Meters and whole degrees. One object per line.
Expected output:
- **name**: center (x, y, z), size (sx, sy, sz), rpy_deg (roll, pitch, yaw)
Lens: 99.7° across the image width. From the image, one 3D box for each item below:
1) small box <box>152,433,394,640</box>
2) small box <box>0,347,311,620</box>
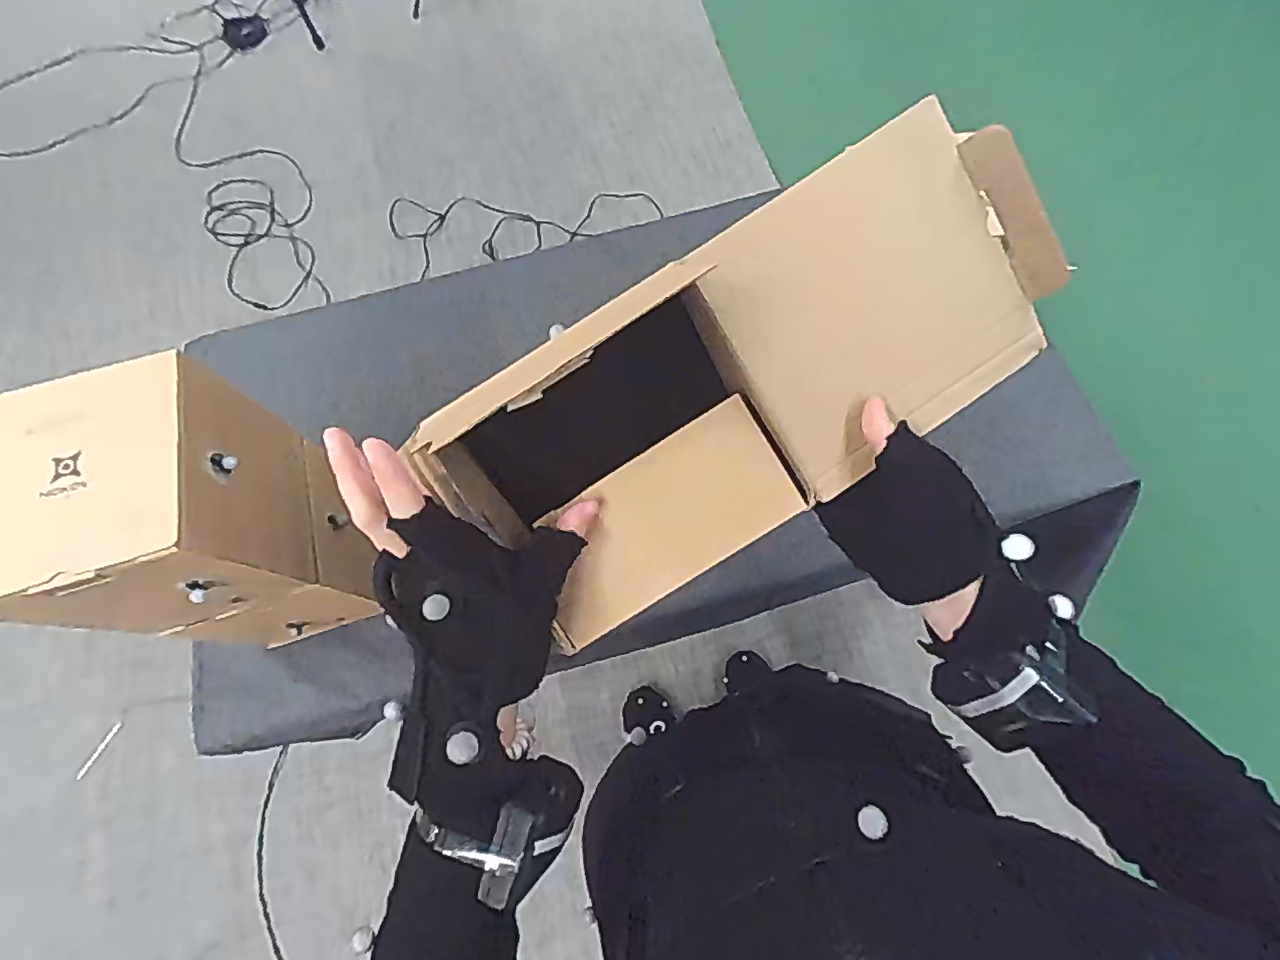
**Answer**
- **small box**: center (-0.413, 0.074, 0.631), size (0.168, 0.176, 0.179), rpy_deg (-18, 71, -4)
- **small box**: center (-0.421, 0.018, 0.478), size (0.168, 0.176, 0.179), rpy_deg (-16, 70, -4)
